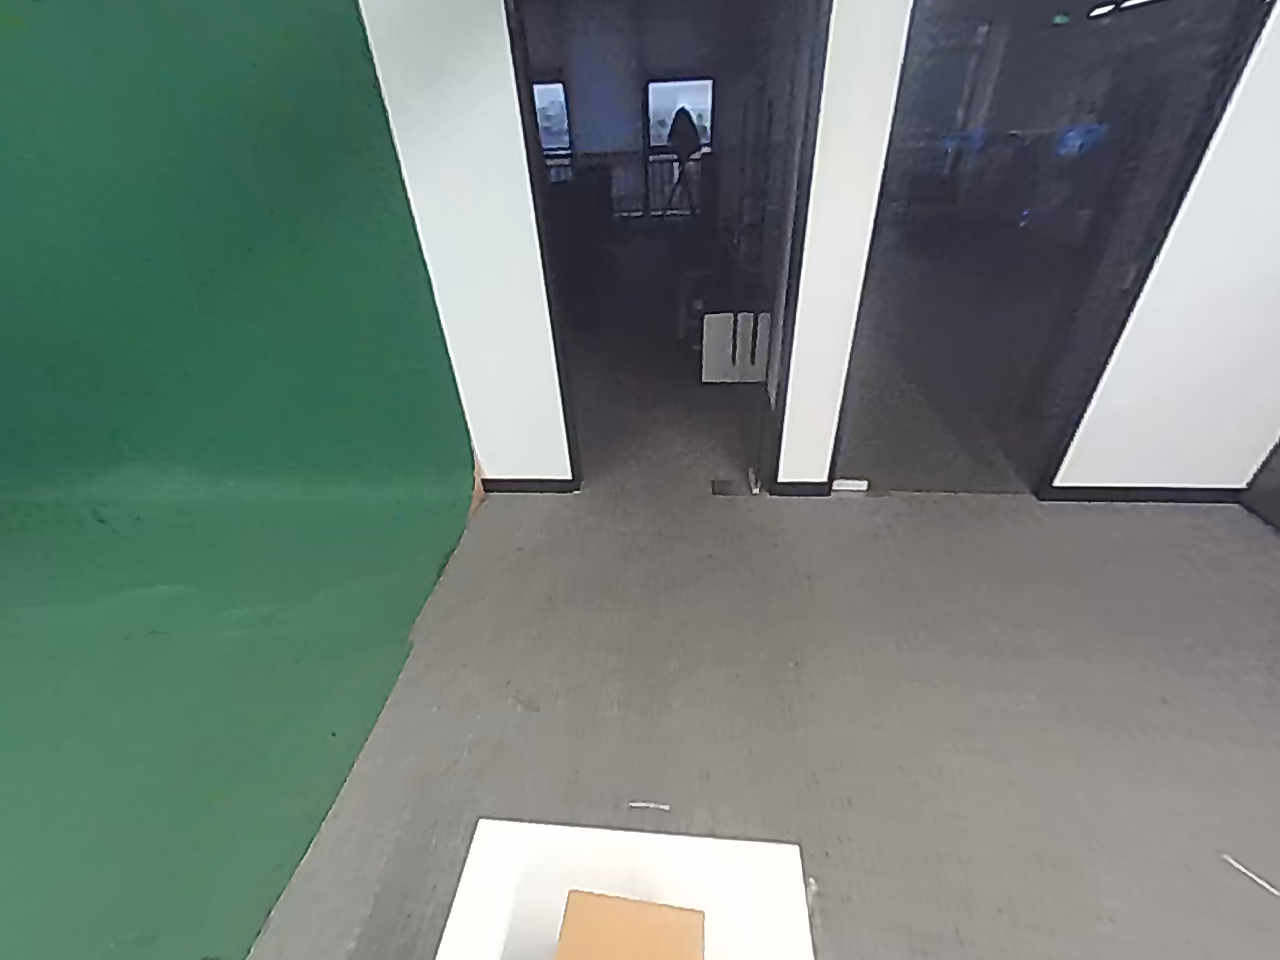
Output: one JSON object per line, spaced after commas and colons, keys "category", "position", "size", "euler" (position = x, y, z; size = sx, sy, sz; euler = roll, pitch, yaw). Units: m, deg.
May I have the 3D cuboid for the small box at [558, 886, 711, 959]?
{"category": "small box", "position": [-0.009, 0.601, 0.605], "size": [0.168, 0.176, 0.179], "euler": [2, 34, 8]}
